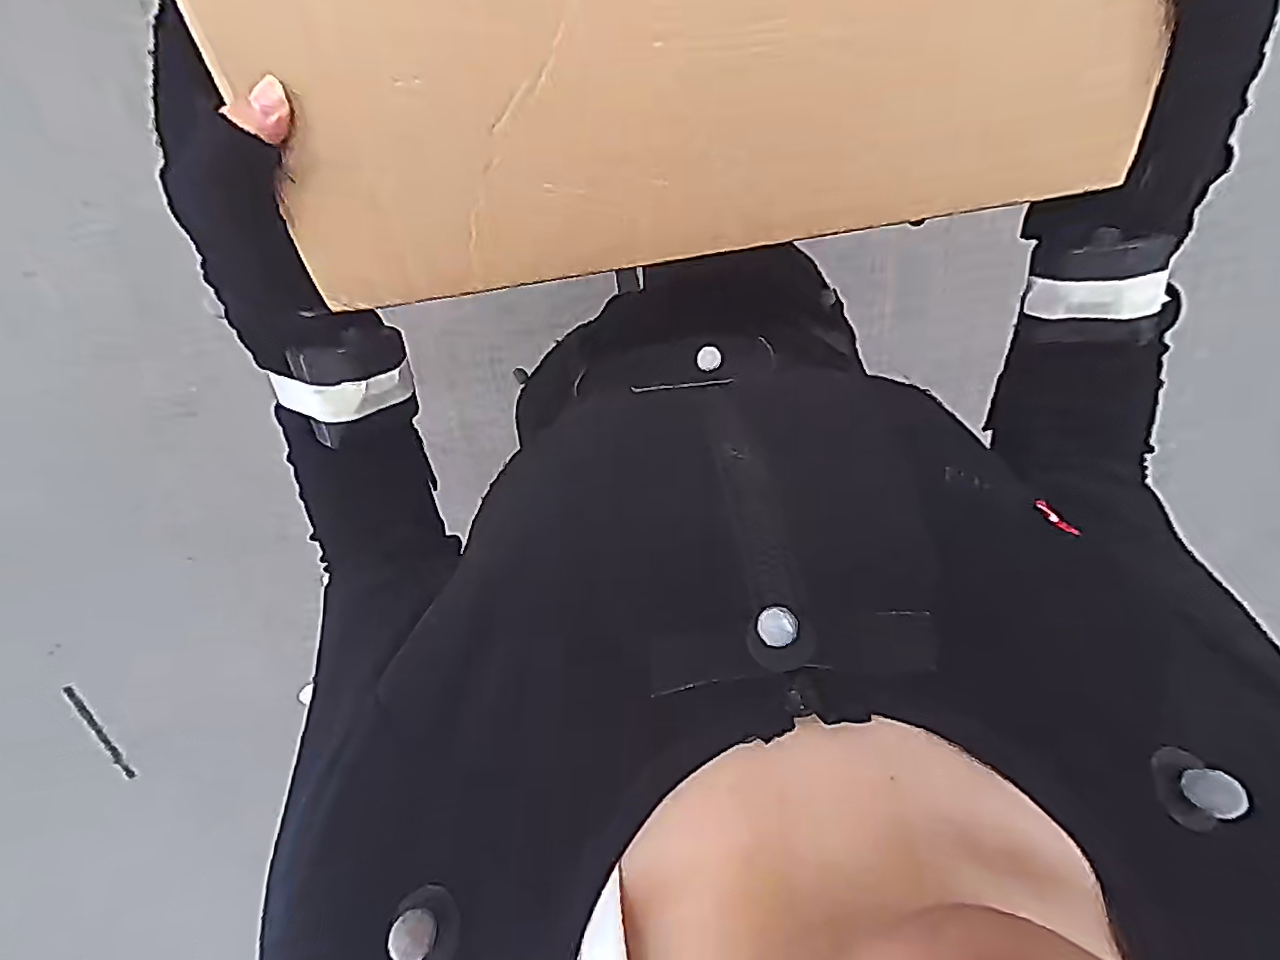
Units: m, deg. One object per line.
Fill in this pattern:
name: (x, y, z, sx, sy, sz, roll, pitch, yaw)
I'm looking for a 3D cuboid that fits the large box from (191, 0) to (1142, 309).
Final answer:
large box: (0.005, -0.333, 0.315, 0.408, 0.320, 0.320, -8, 125, 3)
